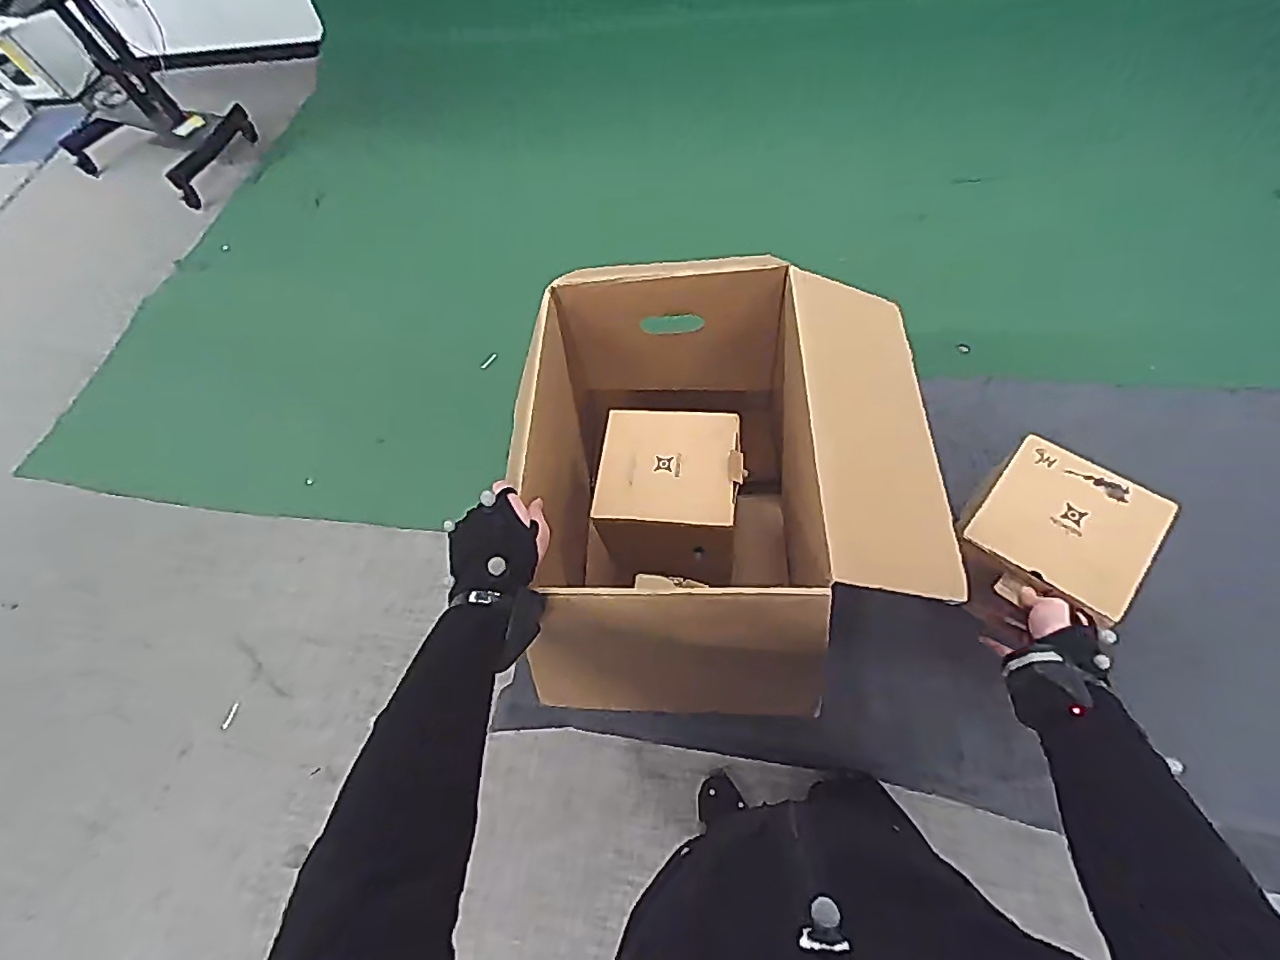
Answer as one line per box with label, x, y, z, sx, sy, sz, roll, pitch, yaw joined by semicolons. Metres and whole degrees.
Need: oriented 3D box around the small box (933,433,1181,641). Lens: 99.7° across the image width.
small box;0.506;0.081;0.690;0.168;0.176;0.179;38;77;25
